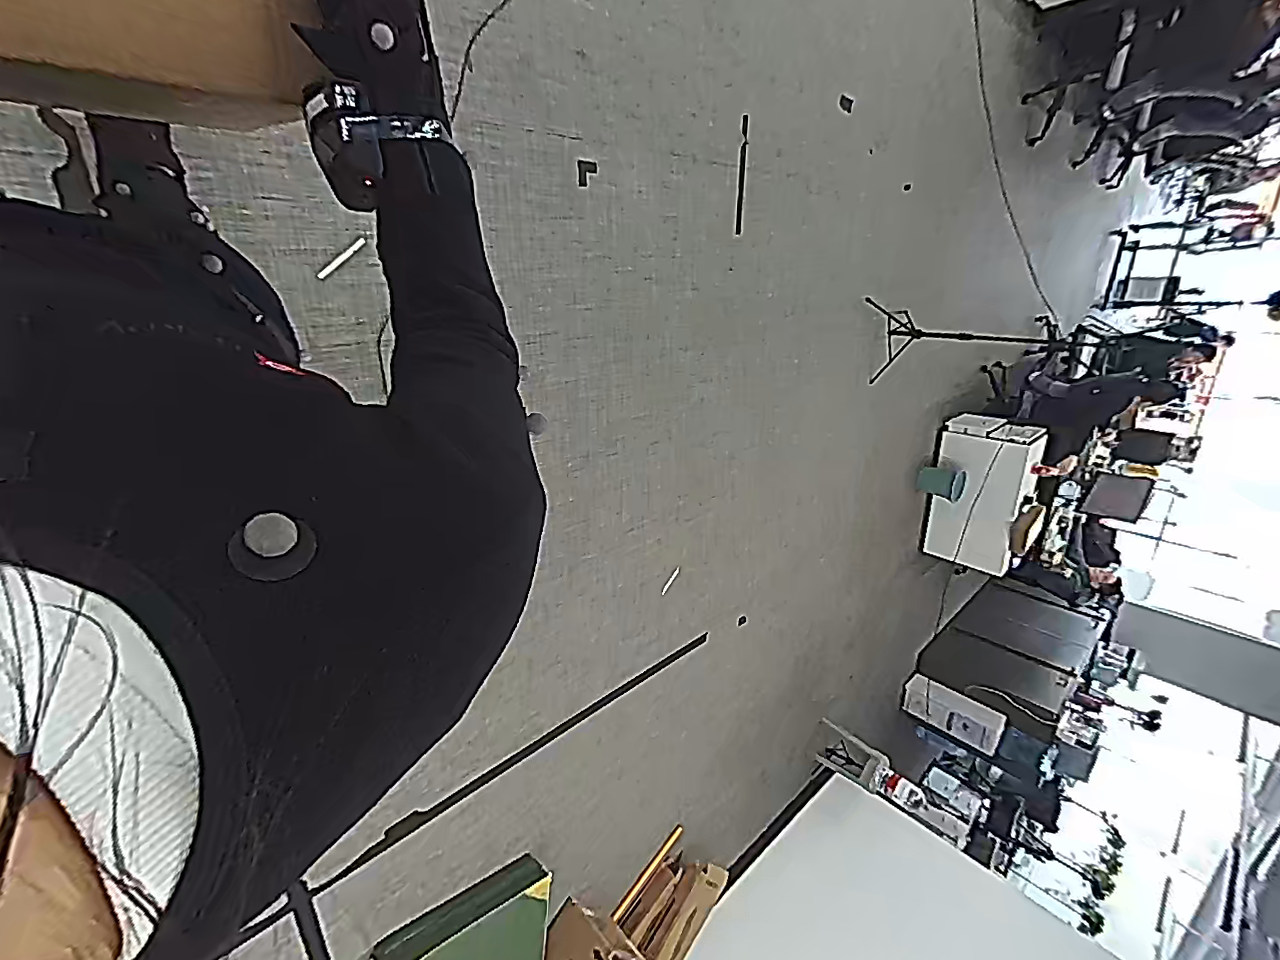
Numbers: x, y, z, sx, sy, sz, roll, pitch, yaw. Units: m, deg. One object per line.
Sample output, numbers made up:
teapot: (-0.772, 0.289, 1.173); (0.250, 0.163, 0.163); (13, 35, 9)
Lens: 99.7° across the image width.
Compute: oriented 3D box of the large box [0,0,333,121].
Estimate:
large box: (-0.456, -0.409, 0.291); (0.408, 0.320, 0.320); (-20, 126, -39)
